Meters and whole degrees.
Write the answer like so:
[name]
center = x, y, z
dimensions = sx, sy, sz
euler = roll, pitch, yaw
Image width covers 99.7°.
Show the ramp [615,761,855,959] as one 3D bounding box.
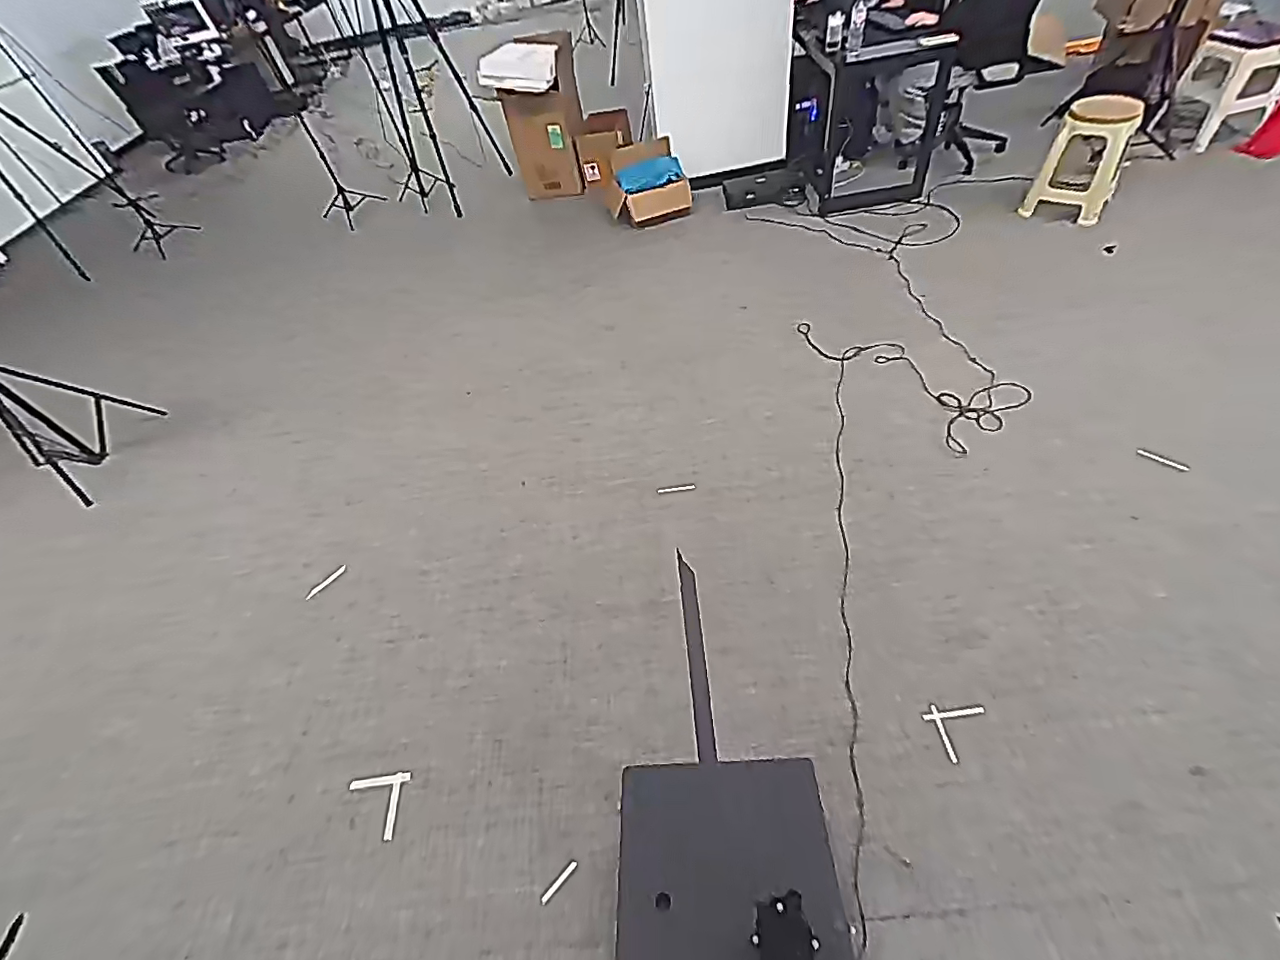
[ramp]
center = 0.185, 1.060, 1.019
dimensions = 0.509, 0.206, 0.991
euler = -8, 49, 6
